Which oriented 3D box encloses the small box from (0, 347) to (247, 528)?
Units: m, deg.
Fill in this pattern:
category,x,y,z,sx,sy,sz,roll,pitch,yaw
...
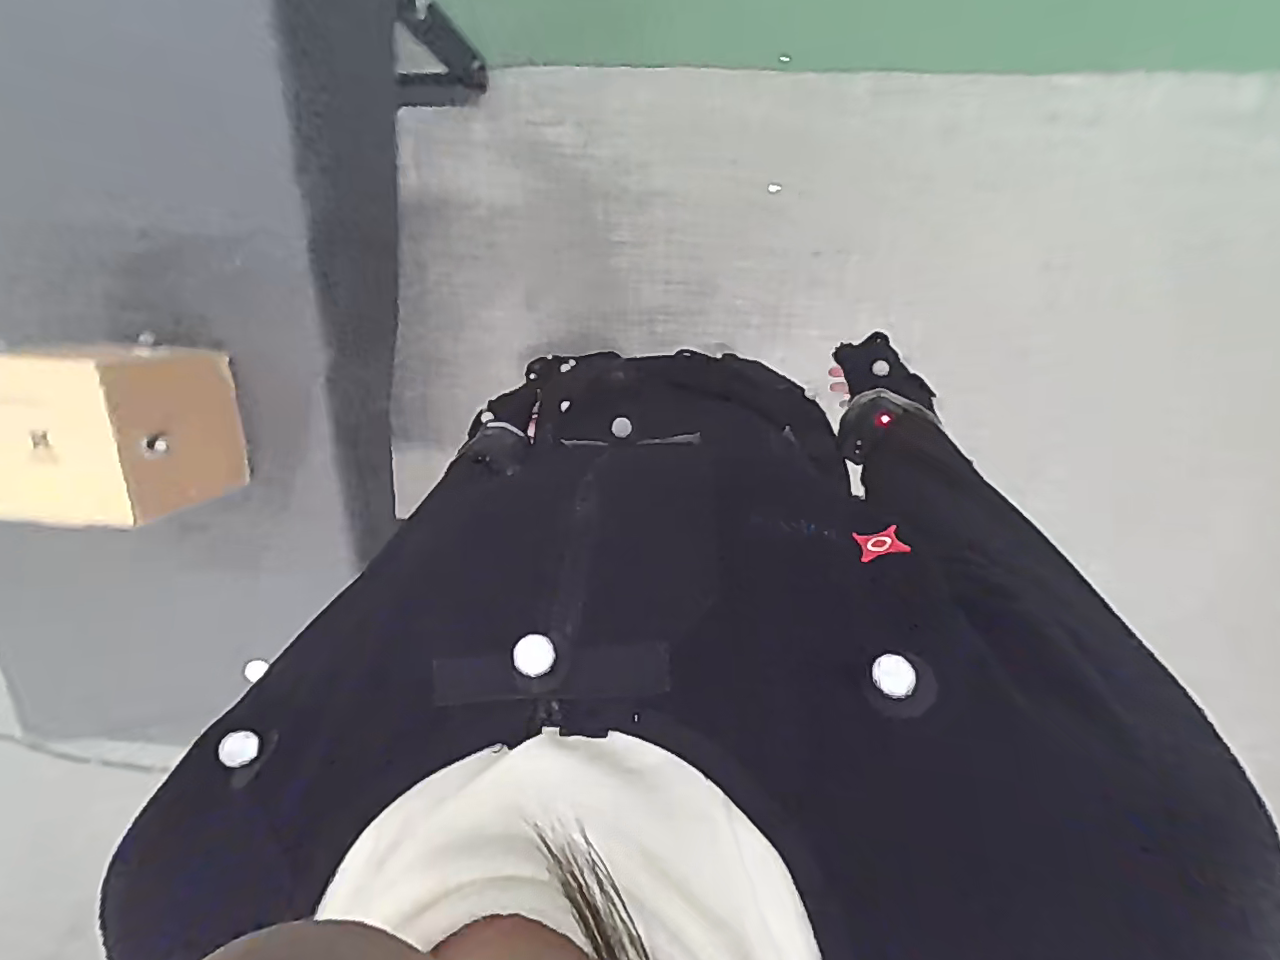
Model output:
category,x,y,z,sx,sy,sz,roll,pitch,yaw
small box,-0.605,-0.059,0.634,0.168,0.176,0.179,3,107,3
